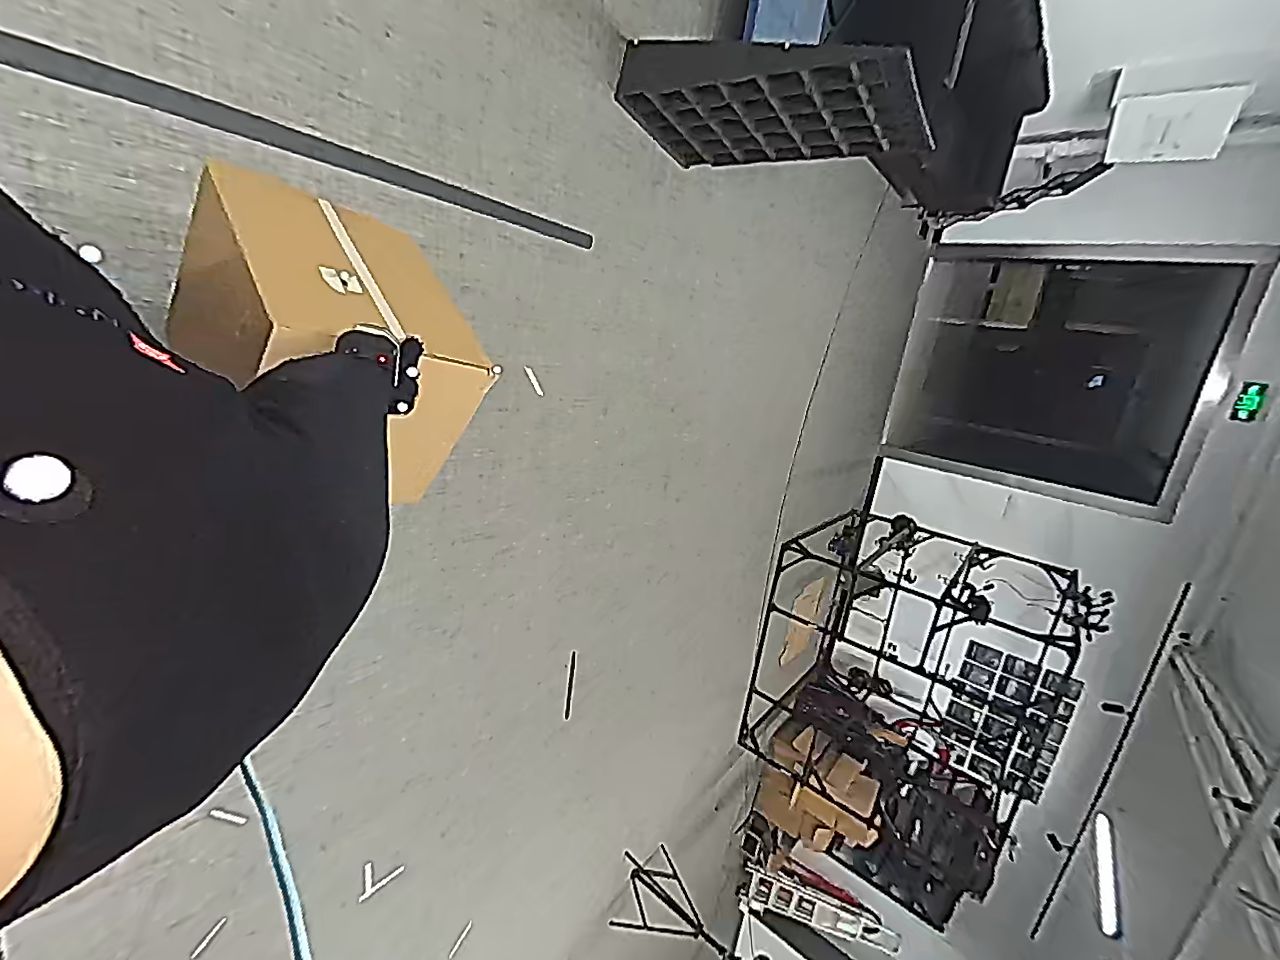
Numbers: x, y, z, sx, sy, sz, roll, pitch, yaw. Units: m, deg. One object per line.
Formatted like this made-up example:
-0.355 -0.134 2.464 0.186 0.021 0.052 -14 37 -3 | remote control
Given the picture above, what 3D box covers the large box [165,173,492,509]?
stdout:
-0.524 -0.204 0.895 0.320 0.408 0.320 -1 138 -53 | large box
